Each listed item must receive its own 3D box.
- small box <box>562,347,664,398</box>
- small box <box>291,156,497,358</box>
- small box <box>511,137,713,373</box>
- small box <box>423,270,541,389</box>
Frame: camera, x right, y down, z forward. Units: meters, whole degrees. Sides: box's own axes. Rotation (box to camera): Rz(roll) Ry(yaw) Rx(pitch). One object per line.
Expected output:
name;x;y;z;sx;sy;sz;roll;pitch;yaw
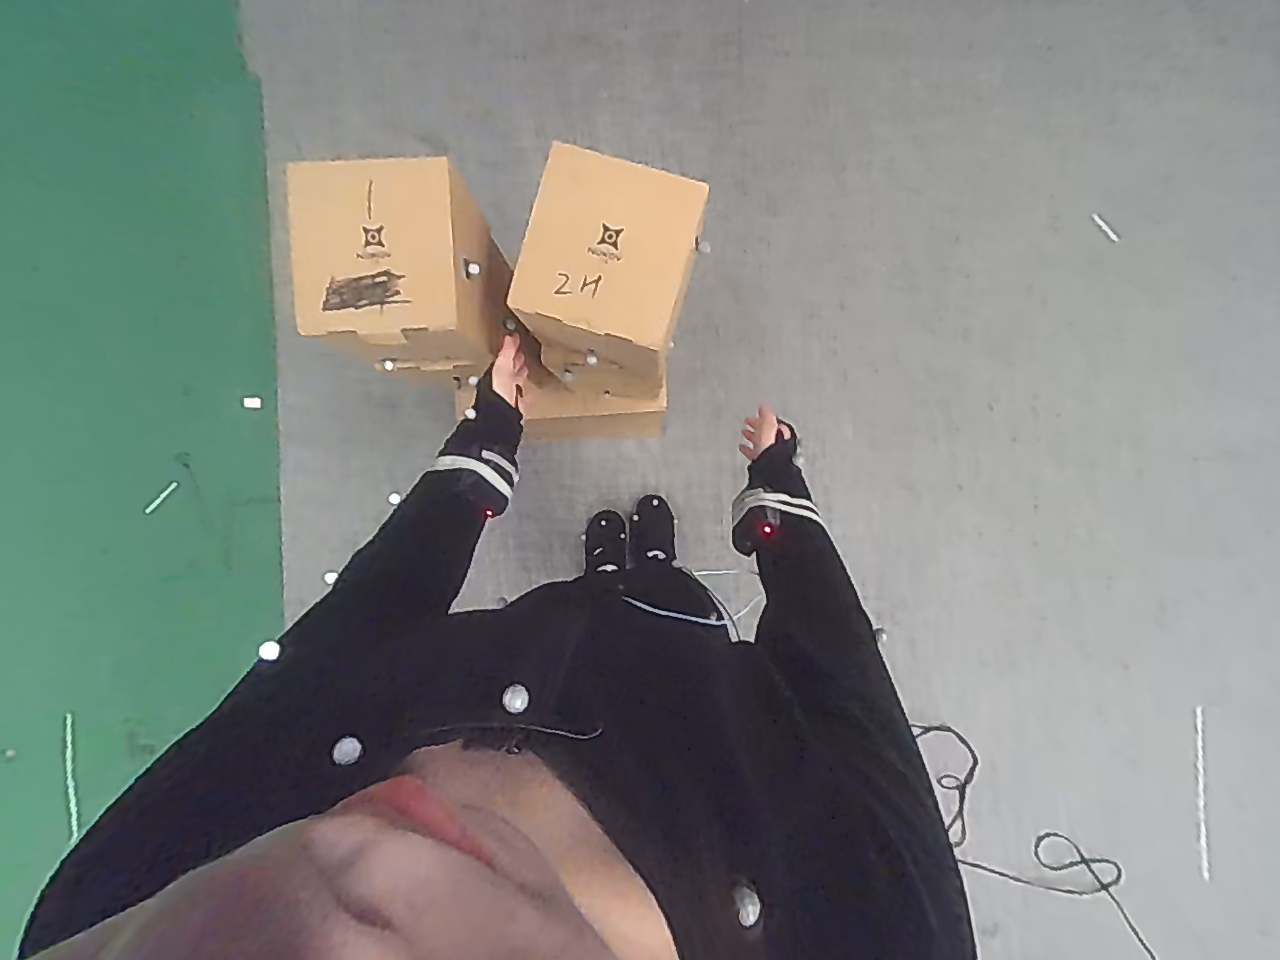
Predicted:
small box;-0.036;-0.246;0.951;0.168;0.176;0.179;5;92;2
small box;-0.269;-0.242;0.630;0.168;0.176;0.179;-3;91;-1
small box;-0.028;-0.240;0.621;0.168;0.176;0.179;17;92;1
small box;-0.271;-0.257;0.957;0.168;0.176;0.179;-1;92;-1
